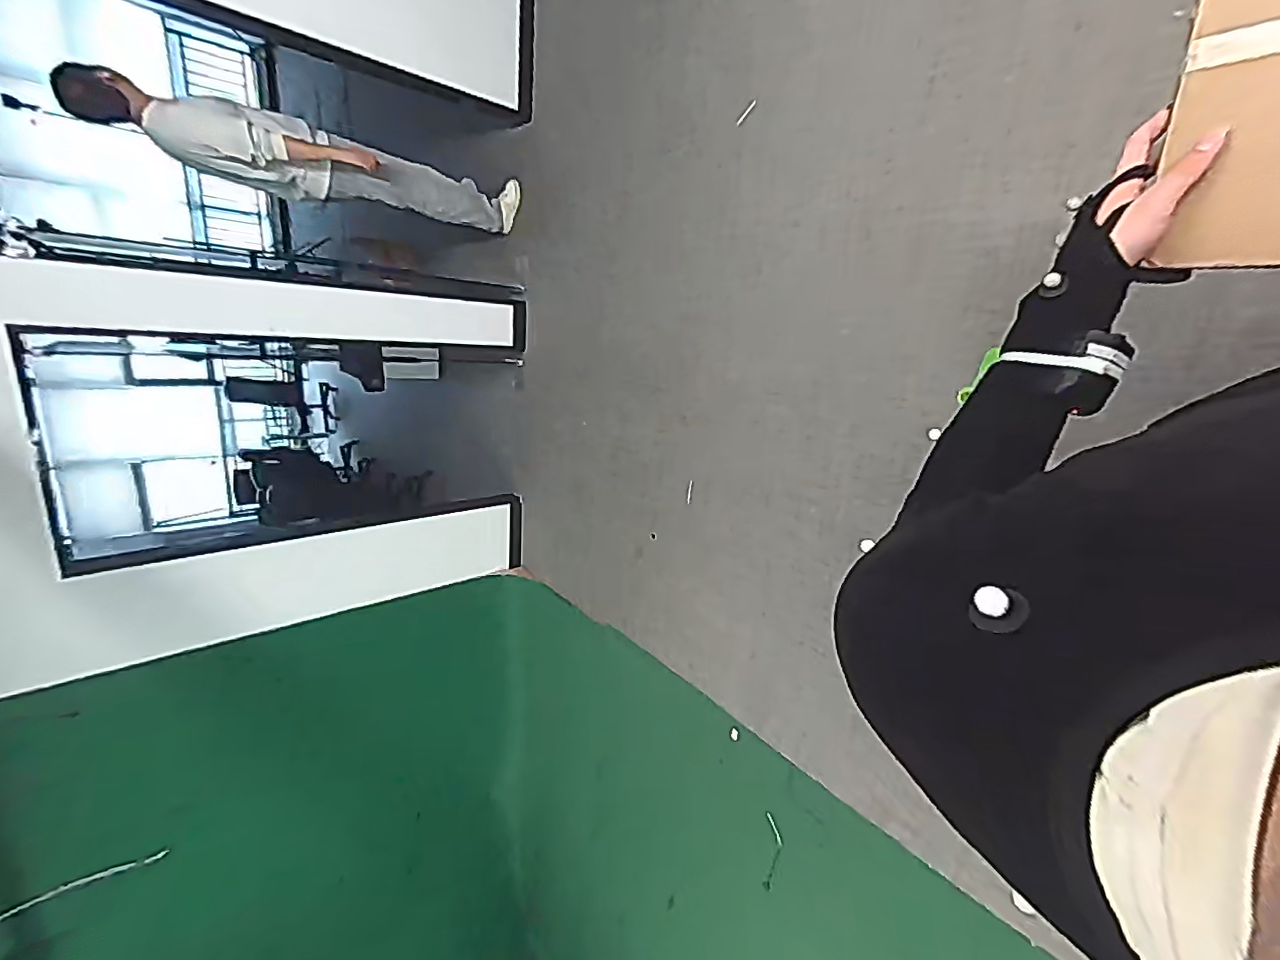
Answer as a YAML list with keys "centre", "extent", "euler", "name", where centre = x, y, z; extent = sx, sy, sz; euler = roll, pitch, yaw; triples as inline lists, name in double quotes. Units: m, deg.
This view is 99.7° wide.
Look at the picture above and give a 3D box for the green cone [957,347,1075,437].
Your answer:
- centre: [0.837, -0.201, 1.279]
  extent: [0.200, 0.368, 0.202]
  euler: [30, 120, 43]
  name: "green cone"
